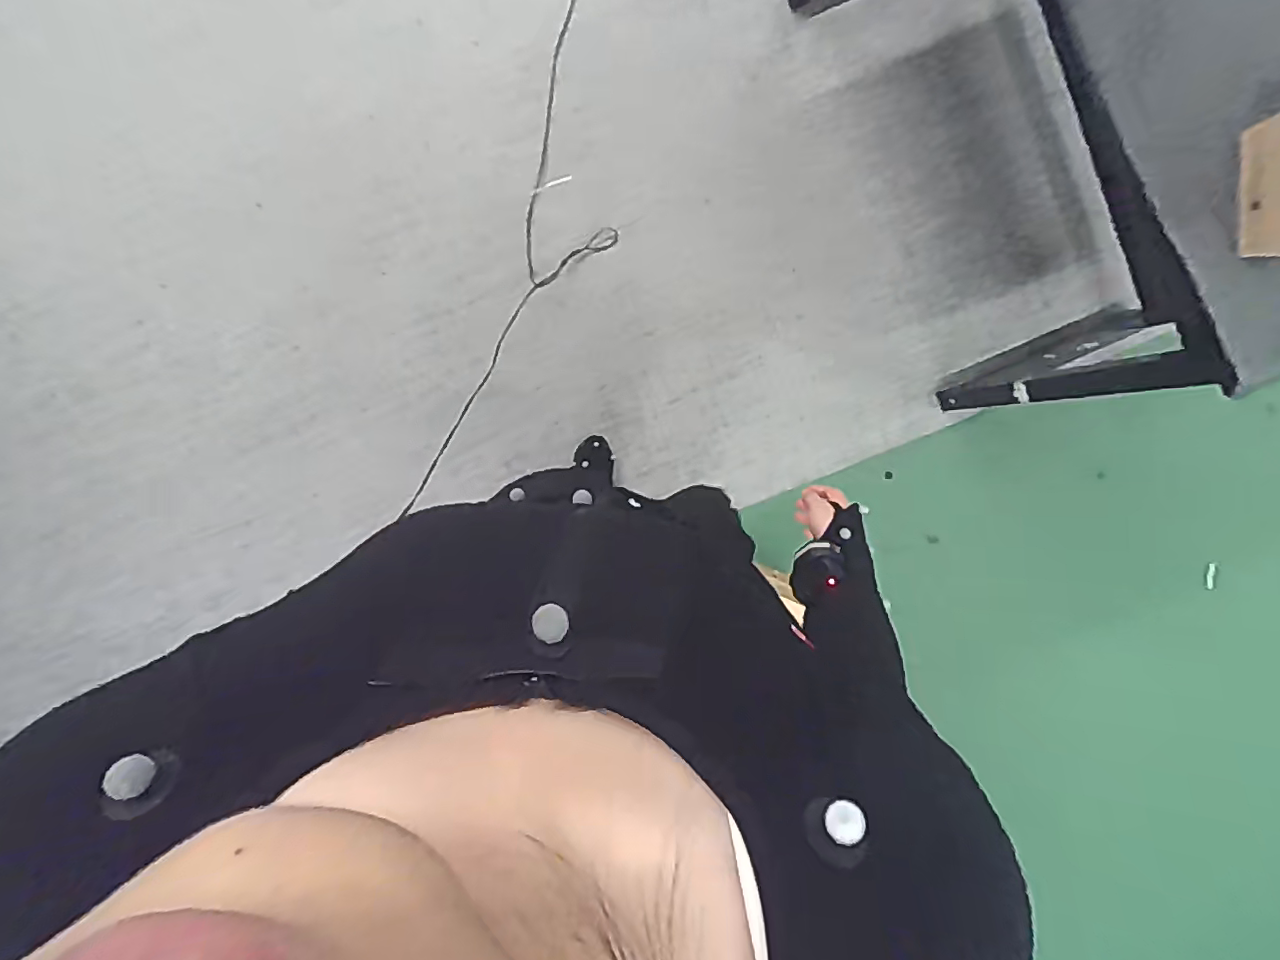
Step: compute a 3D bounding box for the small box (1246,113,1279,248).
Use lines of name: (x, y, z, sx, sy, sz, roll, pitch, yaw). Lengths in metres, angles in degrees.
small box: (0.889, -0.386, 0.640, 0.179, 0.176, 0.168, -3, 94, -3)

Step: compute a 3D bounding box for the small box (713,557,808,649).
small box: (0.306, 0.313, 1.423, 0.179, 0.176, 0.168, 23, 93, -3)
